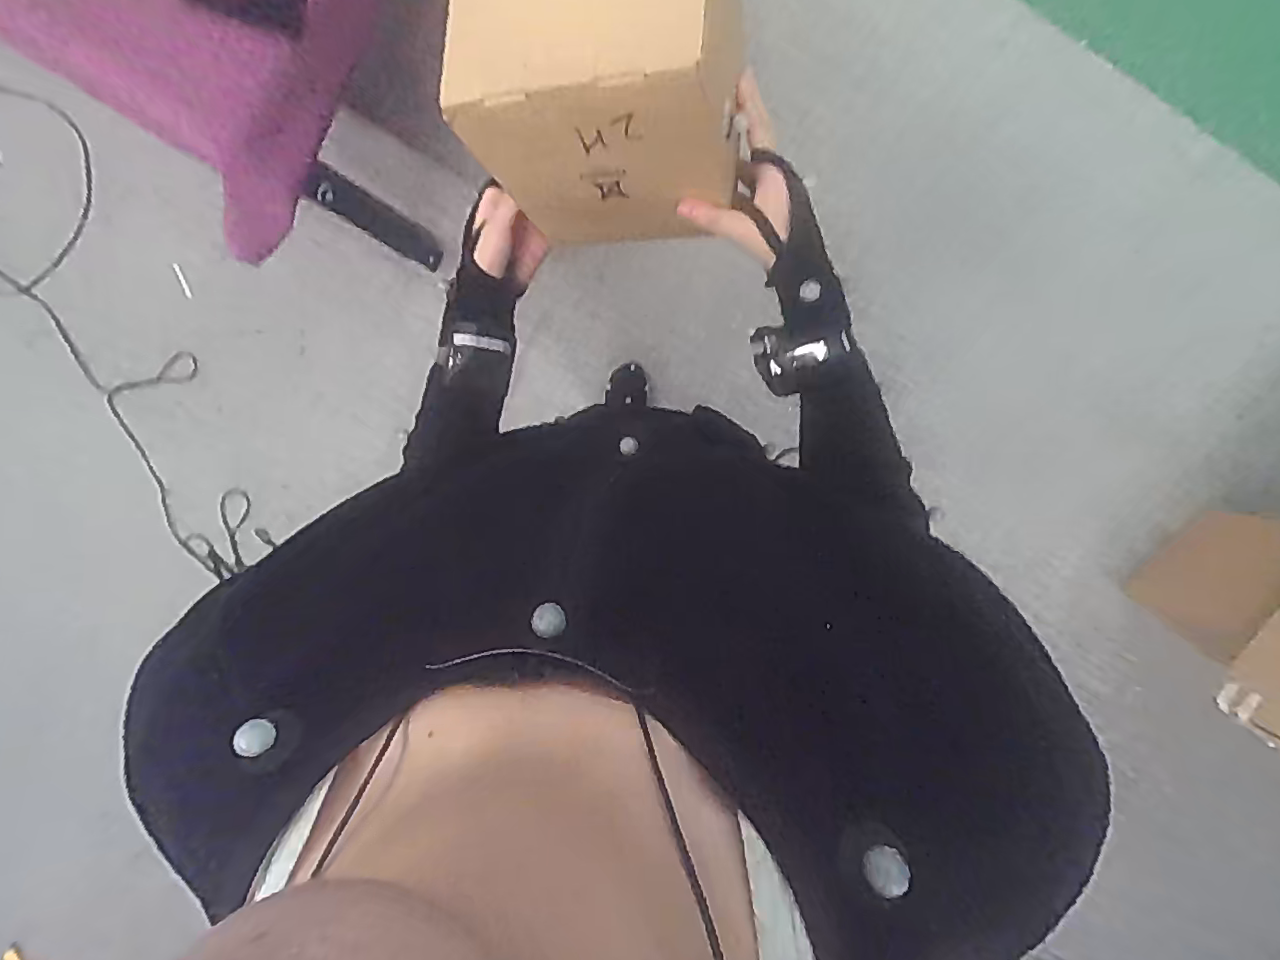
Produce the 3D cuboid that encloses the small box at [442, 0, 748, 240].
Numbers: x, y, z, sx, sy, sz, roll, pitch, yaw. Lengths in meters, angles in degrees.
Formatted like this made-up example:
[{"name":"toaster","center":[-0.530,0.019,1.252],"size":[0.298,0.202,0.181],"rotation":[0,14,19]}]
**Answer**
[{"name":"small box","center":[-0.014,-0.302,0.393],"size":[0.168,0.179,0.176],"rotation":[3,84,16]}]
